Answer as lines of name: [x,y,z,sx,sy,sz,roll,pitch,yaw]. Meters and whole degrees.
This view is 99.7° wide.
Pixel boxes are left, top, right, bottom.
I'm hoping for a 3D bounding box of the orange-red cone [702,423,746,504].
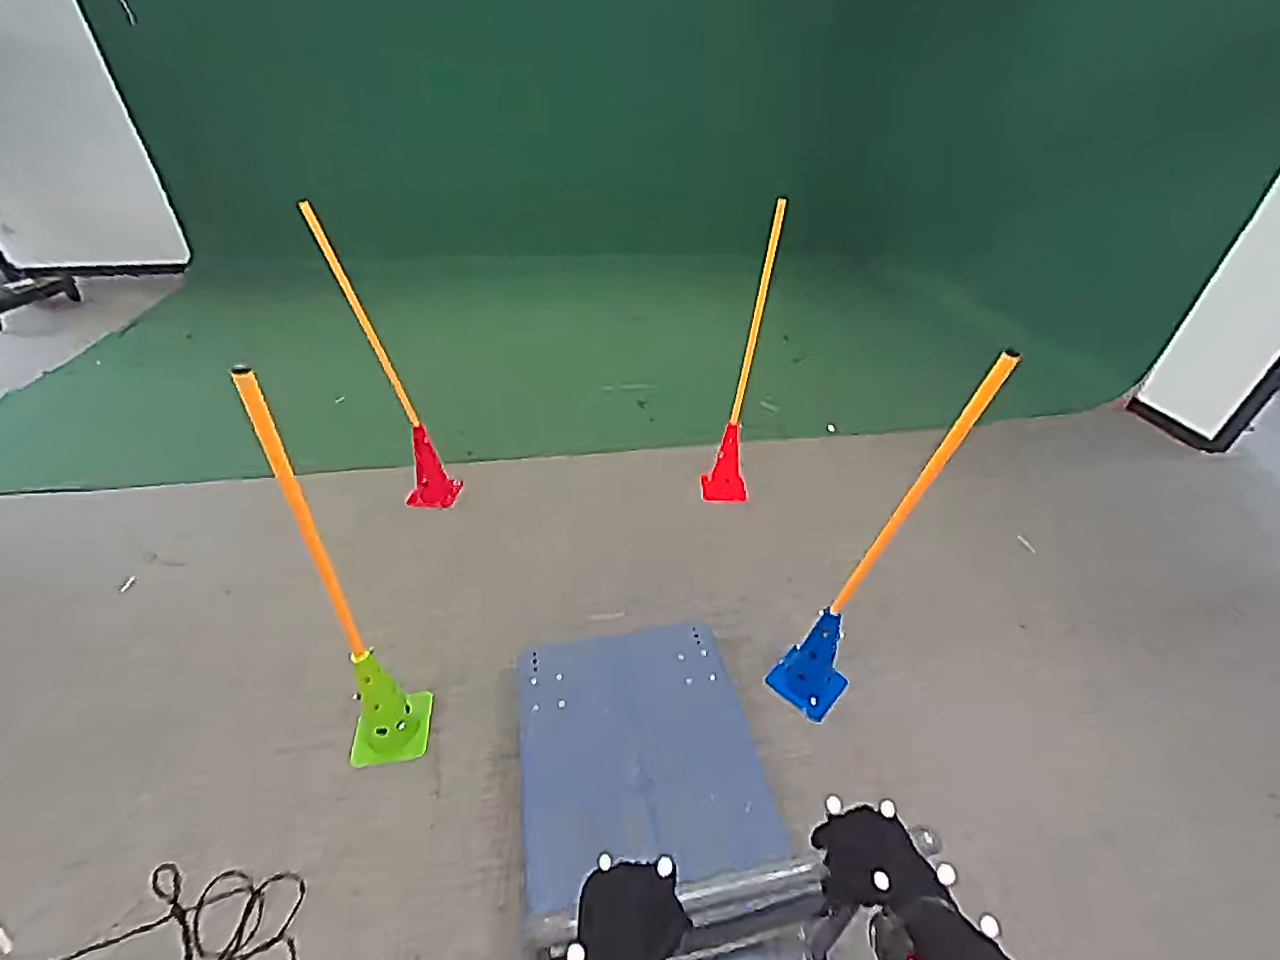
orange-red cone: [0.385,-0.089,2.370,0.198,0.360,0.199,2,38,1]
